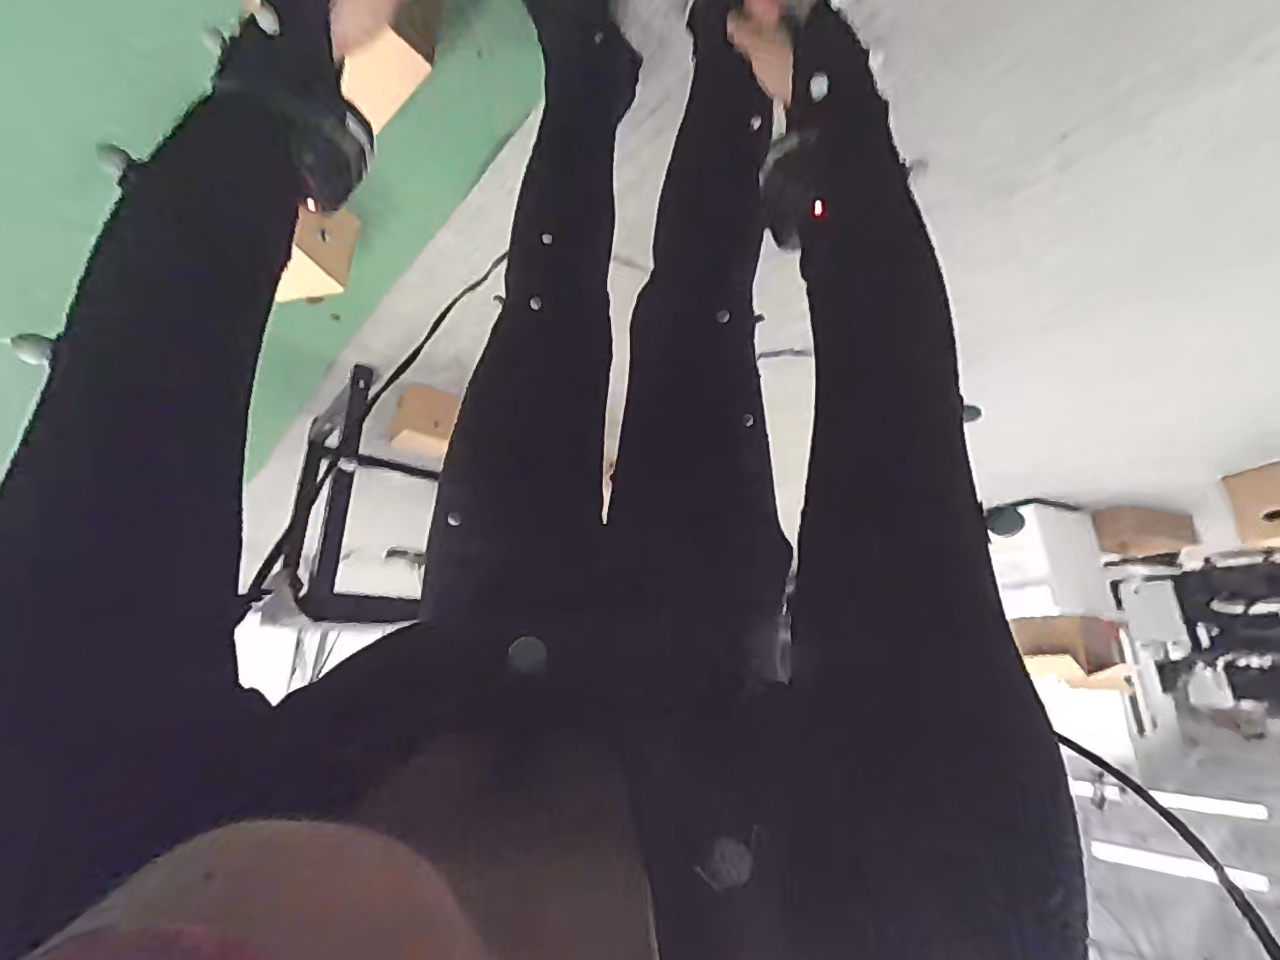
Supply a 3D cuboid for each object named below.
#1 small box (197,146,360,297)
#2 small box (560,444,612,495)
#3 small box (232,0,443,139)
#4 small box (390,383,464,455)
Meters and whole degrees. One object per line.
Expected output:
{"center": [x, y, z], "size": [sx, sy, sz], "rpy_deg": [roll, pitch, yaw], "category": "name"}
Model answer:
{"center": [-0.648, -0.467, 0.994], "size": [0.168, 0.176, 0.179], "rpy_deg": [-4, 162, 12], "category": "small box"}
{"center": [-0.224, -0.046, 2.255], "size": [0.179, 0.176, 0.168], "rpy_deg": [-4, 161, 14], "category": "small box"}
{"center": [-0.355, -0.580, 0.658], "size": [0.179, 0.176, 0.168], "rpy_deg": [-16, 157, 36], "category": "small box"}
{"center": [-0.699, -0.199, 1.784], "size": [0.179, 0.176, 0.168], "rpy_deg": [16, 155, -39], "category": "small box"}
